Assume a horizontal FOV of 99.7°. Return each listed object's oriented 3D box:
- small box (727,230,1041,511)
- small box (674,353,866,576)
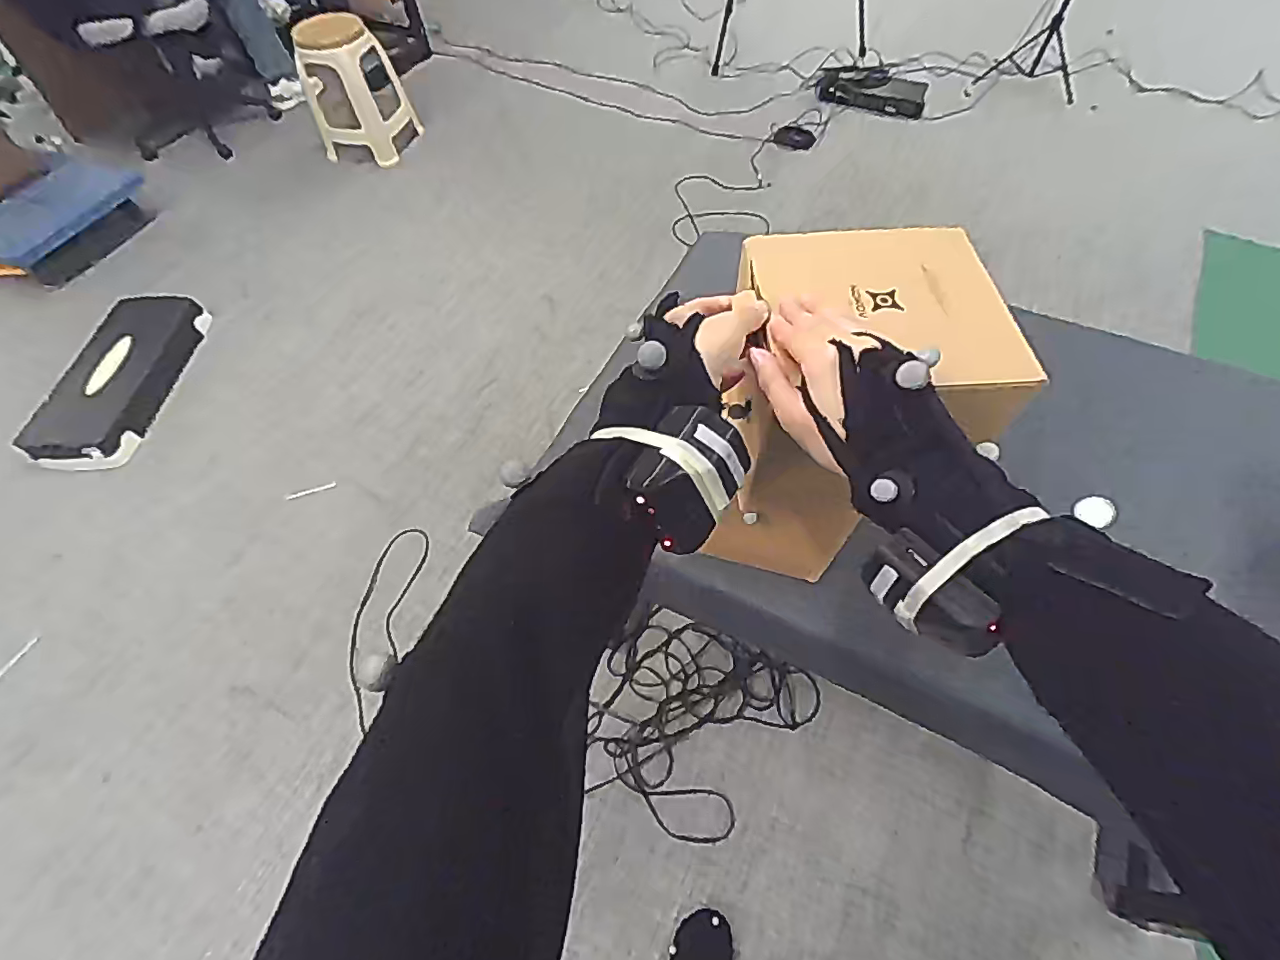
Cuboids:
[{"bbox_3d":[0.170,-0.083,0.453,0.179,0.176,0.168,-2,58,0],"label":"small box"},{"bbox_3d":[0.142,-0.010,0.600,0.179,0.176,0.168,14,59,11],"label":"small box"}]
